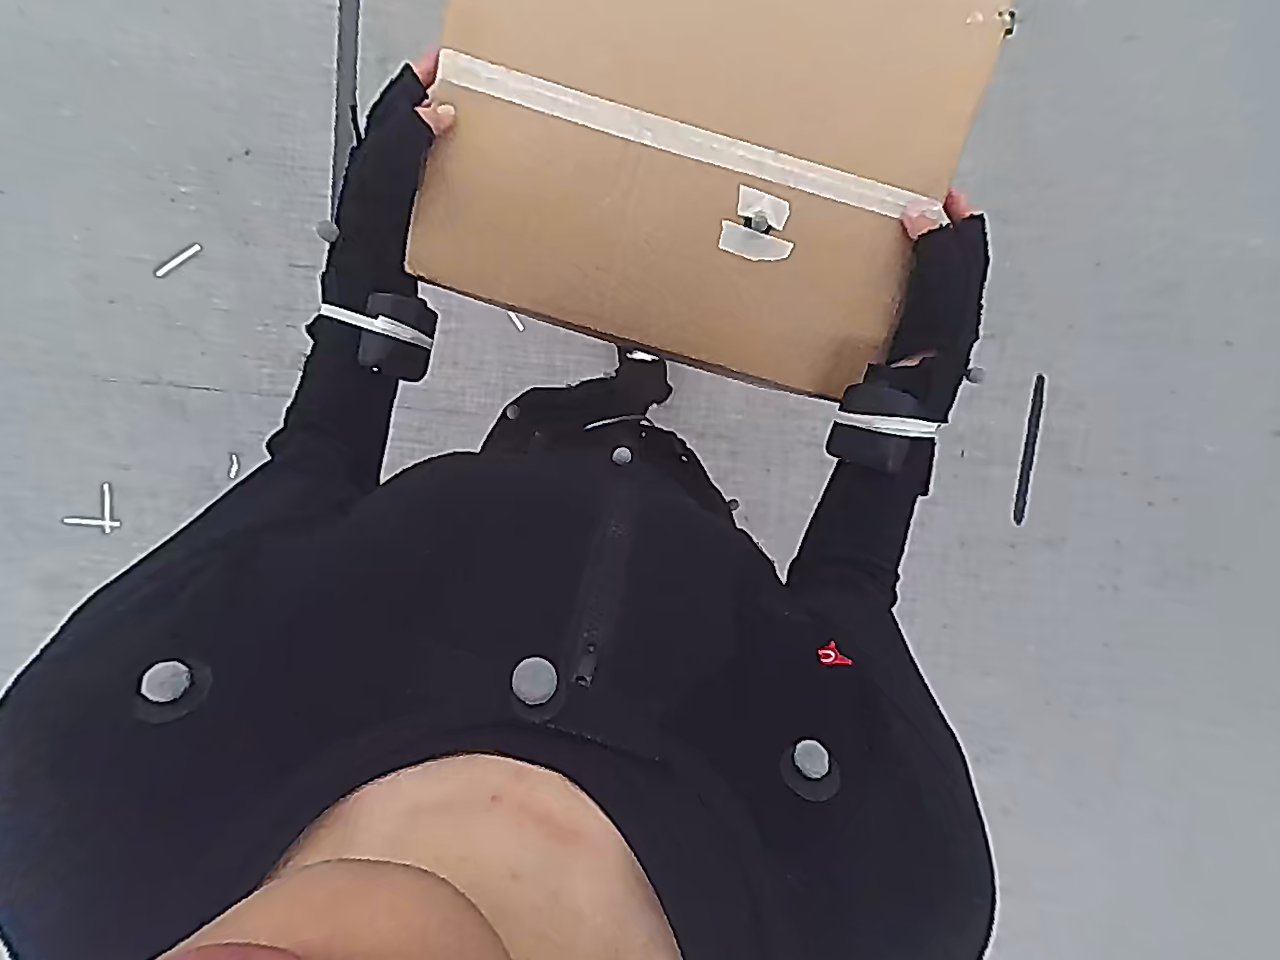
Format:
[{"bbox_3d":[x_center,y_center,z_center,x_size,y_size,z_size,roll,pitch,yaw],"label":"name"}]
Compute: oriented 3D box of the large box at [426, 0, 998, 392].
[{"bbox_3d":[0.046,-0.301,0.581,0.408,0.320,0.320,16,103,-4],"label":"large box"}]
